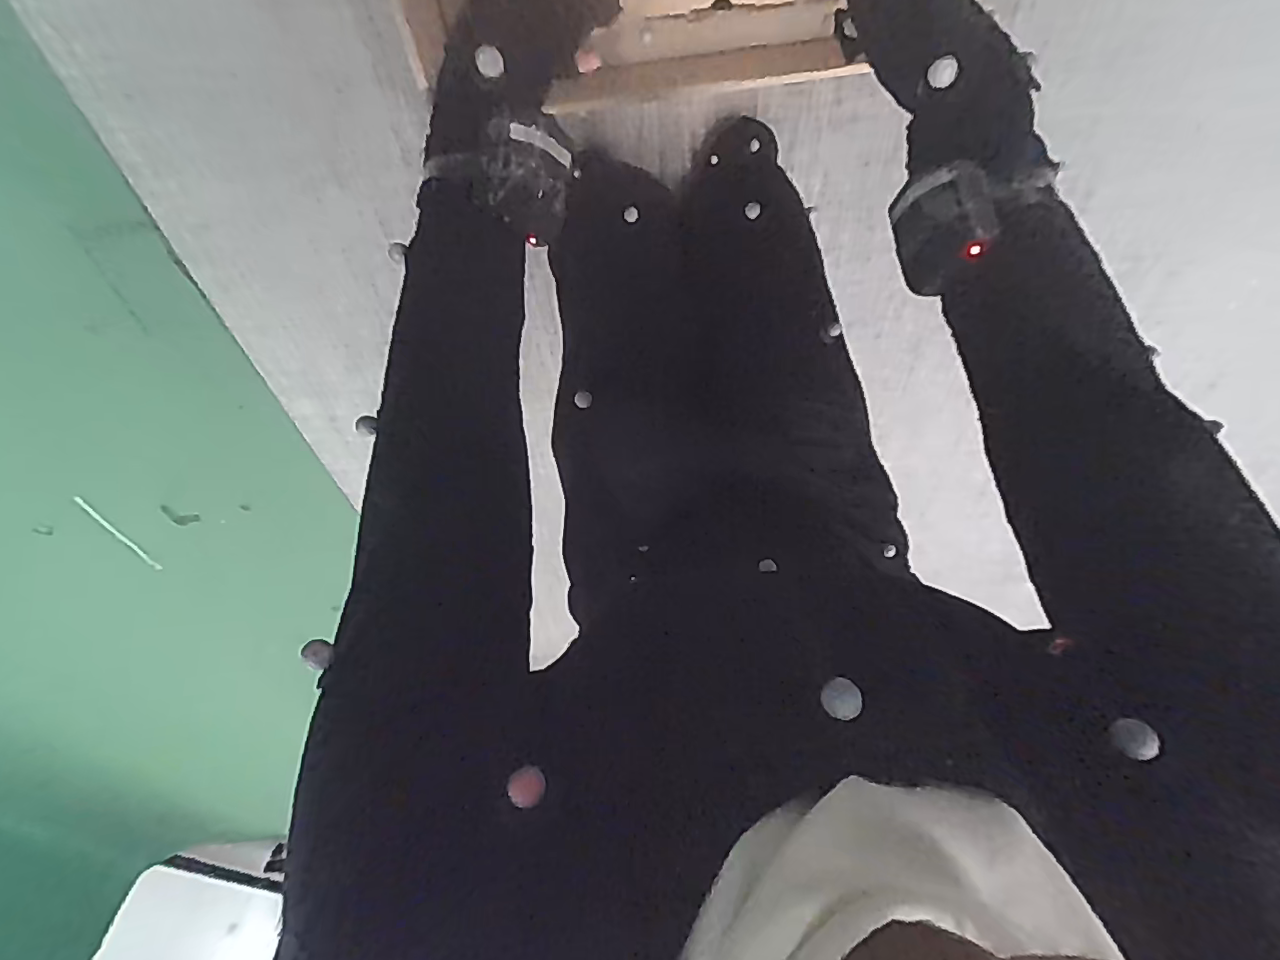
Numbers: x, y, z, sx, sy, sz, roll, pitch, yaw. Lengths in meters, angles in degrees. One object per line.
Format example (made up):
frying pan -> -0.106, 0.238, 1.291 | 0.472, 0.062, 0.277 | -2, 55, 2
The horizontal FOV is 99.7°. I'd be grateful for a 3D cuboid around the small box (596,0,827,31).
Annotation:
small box -> 0.048, -0.444, 0.389 | 0.168, 0.176, 0.179 | -3, 128, 3
